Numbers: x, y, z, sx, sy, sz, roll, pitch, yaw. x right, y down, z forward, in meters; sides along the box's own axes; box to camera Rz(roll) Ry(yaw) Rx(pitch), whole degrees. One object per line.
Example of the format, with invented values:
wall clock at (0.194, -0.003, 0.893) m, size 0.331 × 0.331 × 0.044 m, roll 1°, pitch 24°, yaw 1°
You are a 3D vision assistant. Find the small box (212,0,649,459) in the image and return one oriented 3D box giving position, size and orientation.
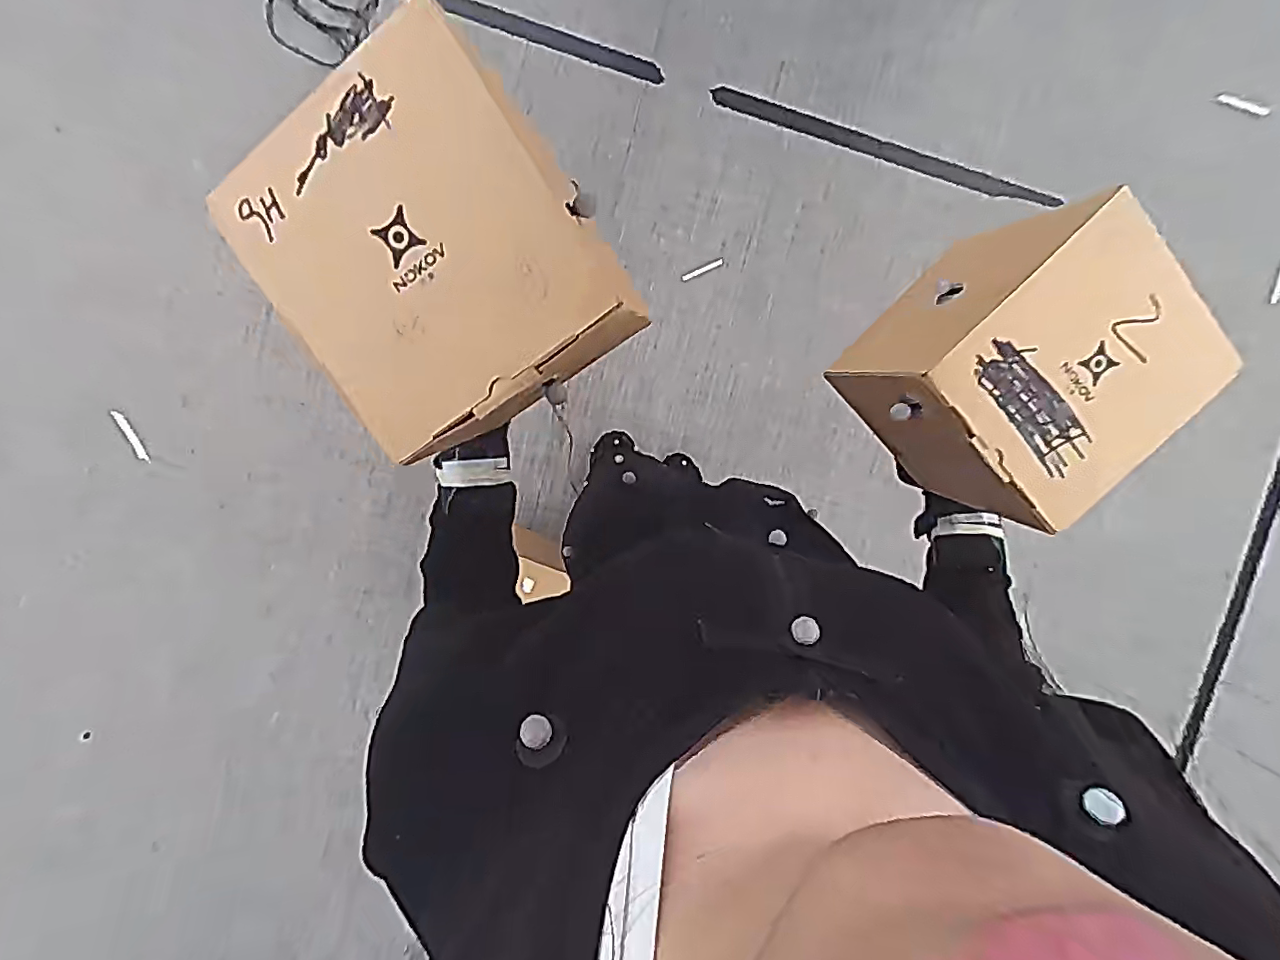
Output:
small box at (-0.108, -0.143, 0.361) m, size 0.168 × 0.176 × 0.179 m, roll -32°, pitch 99°, yaw 13°
